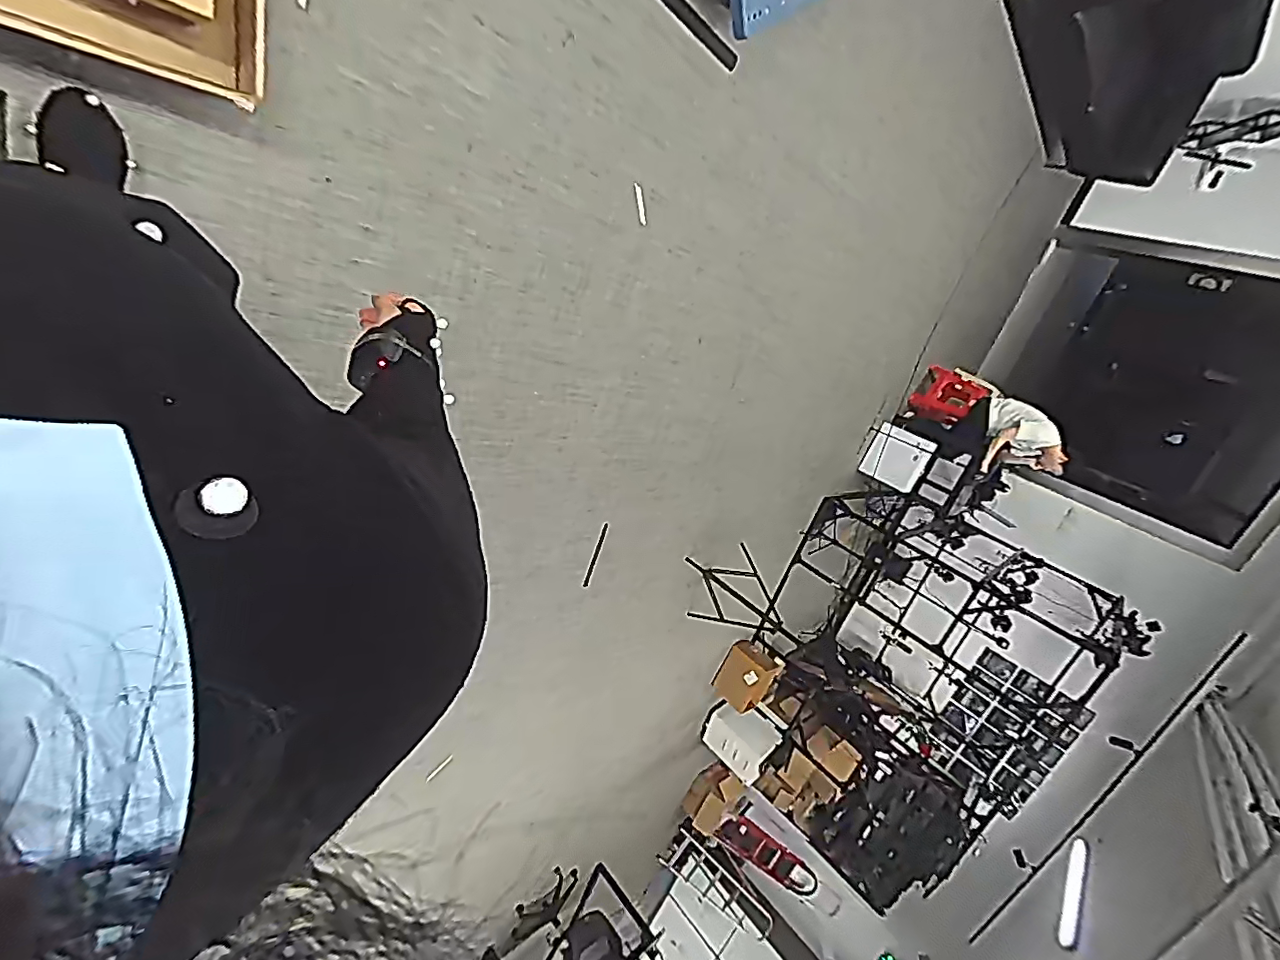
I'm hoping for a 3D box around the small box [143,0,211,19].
[{"bbox_3d":[-0.754,-0.829,0.804,0.168,0.176,0.179,-6,121,-47],"label":"small box"}]
